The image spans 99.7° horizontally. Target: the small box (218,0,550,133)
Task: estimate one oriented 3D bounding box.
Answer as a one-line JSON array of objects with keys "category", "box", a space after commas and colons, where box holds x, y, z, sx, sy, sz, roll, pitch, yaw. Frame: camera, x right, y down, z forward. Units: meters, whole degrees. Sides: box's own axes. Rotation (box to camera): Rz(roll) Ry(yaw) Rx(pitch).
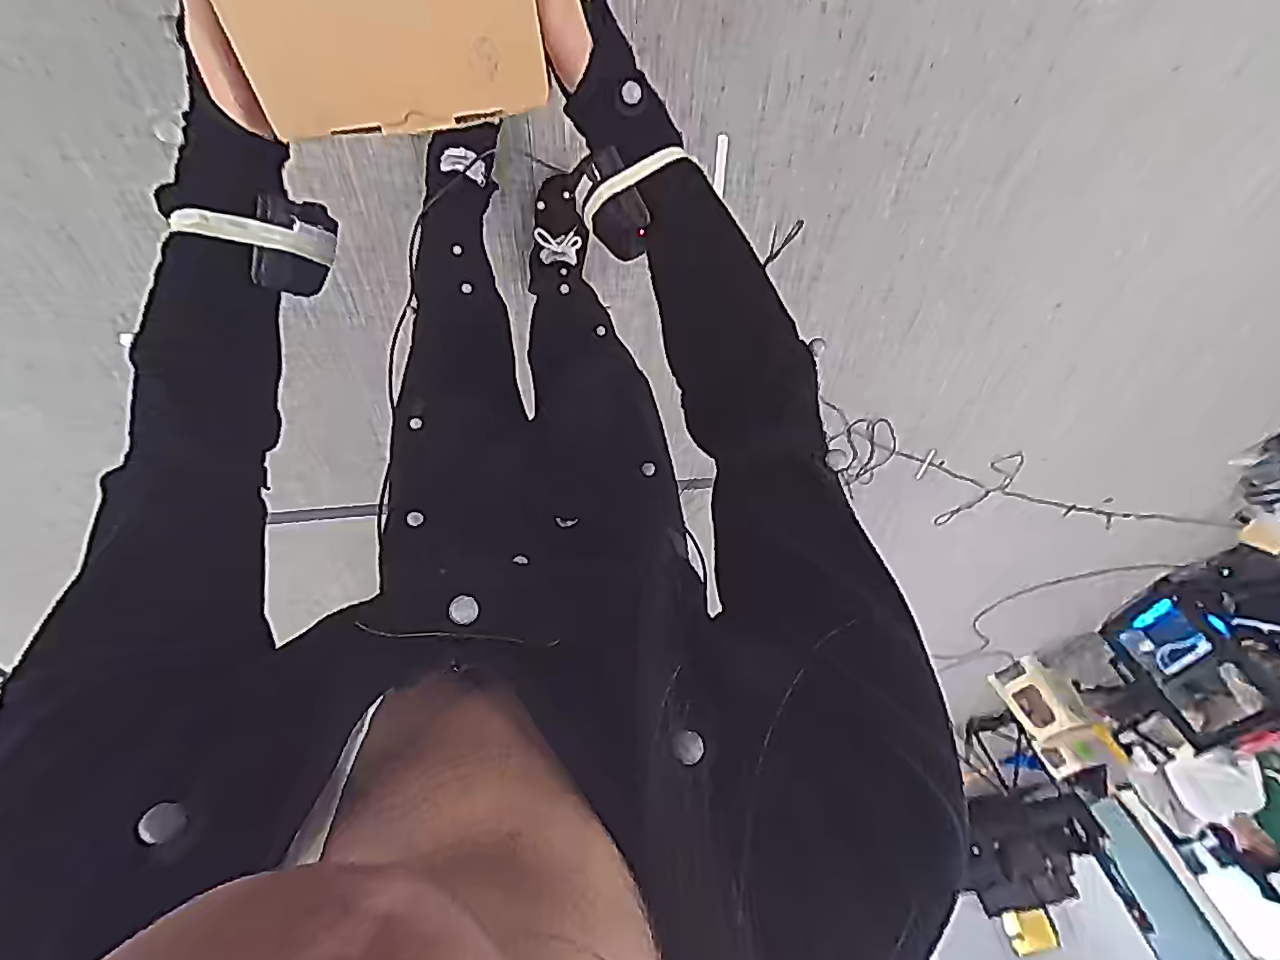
[{"category": "small box", "box": [-0.150, -0.334, 0.319, 0.168, 0.176, 0.179, -10, 135, -3]}]
